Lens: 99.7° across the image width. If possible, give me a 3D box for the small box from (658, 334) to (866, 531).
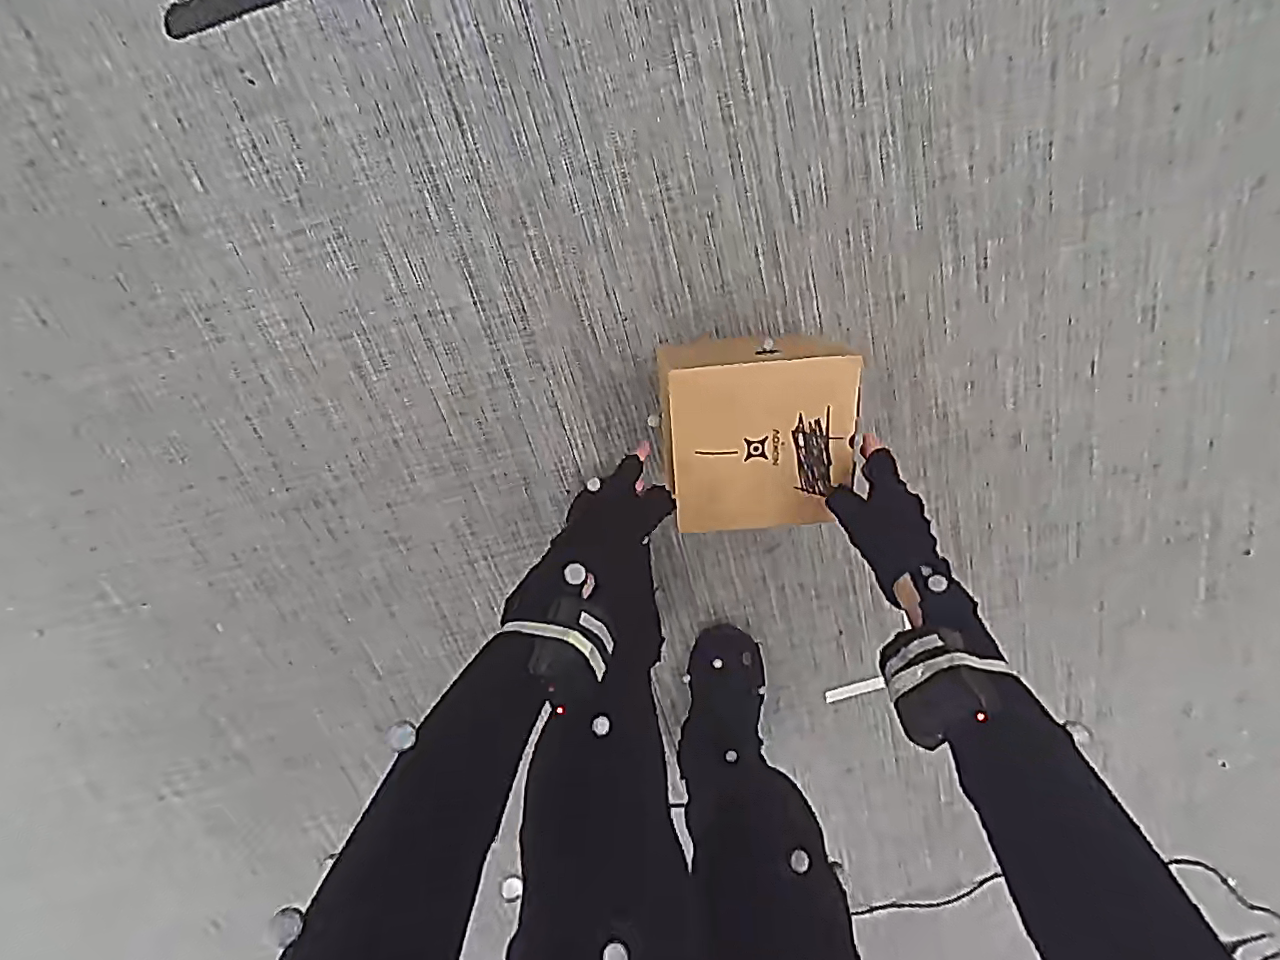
[{"bbox_3d":[0.115,-0.060,0.577,0.179,0.176,0.168,-4,111,0],"label":"small box"}]
